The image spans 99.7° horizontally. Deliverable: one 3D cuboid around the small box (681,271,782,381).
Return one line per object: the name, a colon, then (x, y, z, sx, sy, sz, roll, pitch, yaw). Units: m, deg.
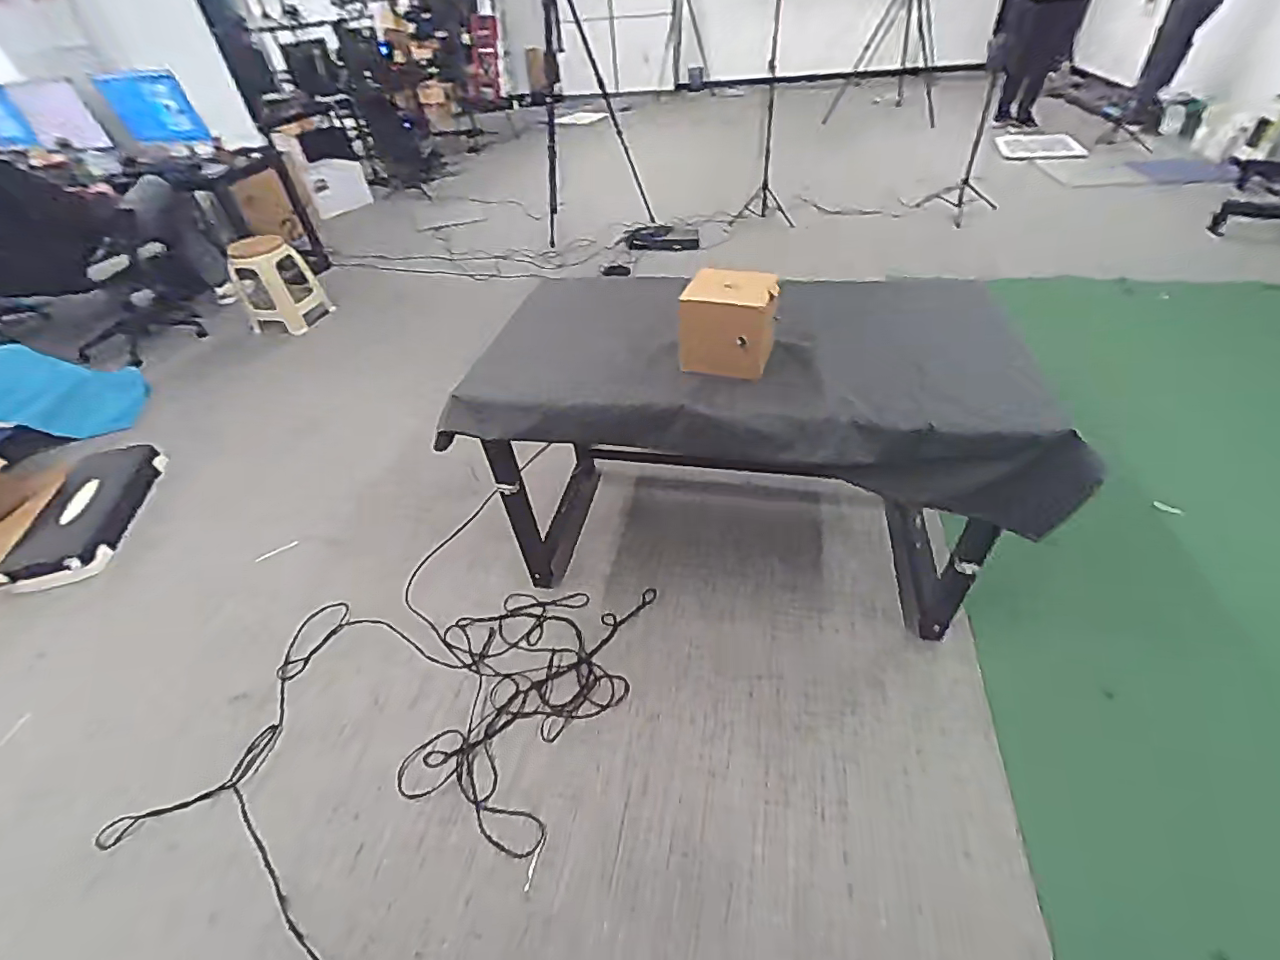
small box: (0.196, -0.329, 1.159, 0.179, 0.176, 0.168, 10, 44, 18)
